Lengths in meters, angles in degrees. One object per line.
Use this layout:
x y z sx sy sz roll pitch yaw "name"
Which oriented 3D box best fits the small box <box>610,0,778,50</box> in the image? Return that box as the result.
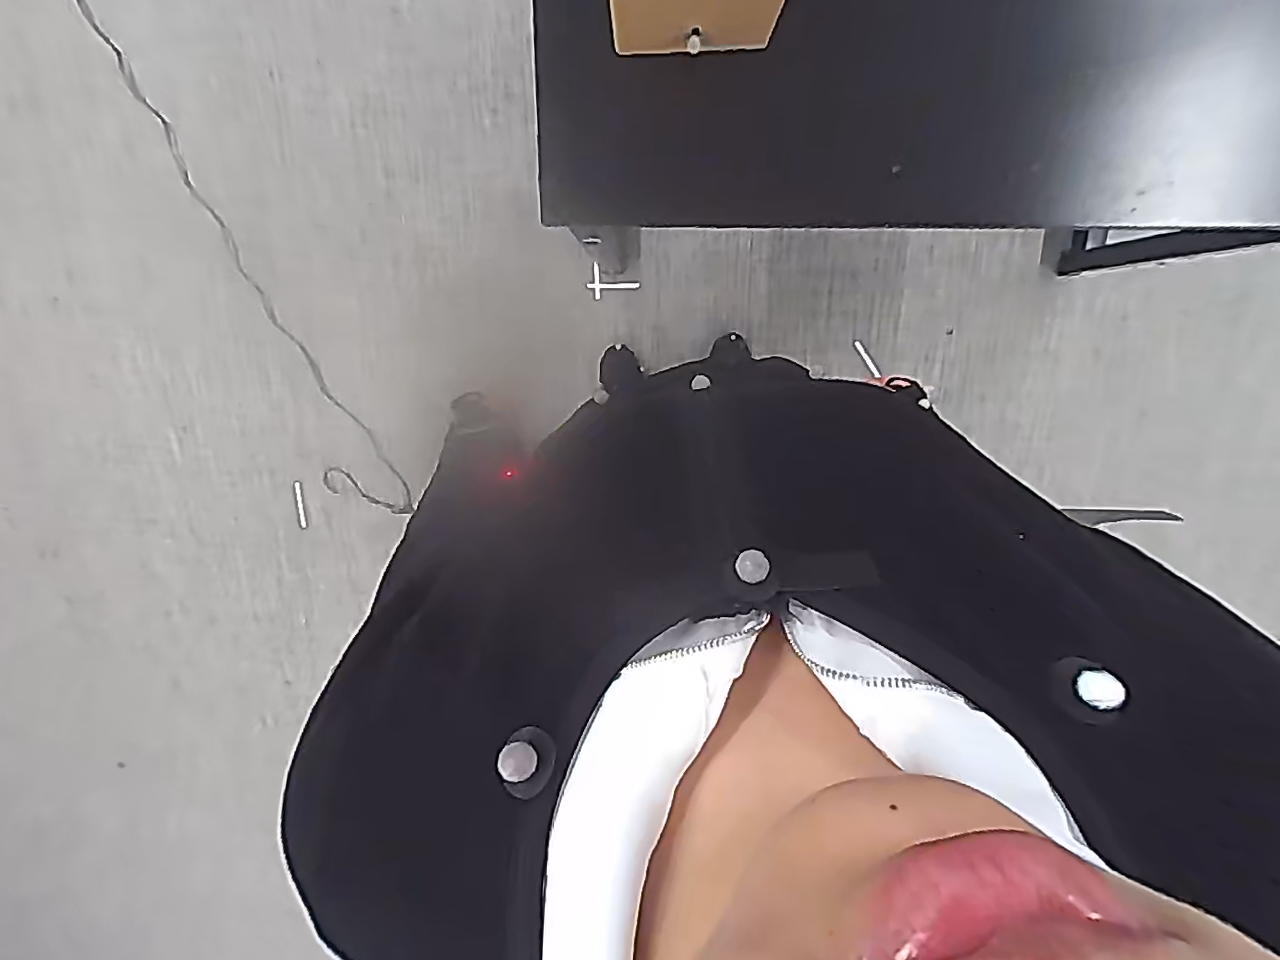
0.056 -0.557 0.528 0.179 0.176 0.168 -2 105 0 "small box"
